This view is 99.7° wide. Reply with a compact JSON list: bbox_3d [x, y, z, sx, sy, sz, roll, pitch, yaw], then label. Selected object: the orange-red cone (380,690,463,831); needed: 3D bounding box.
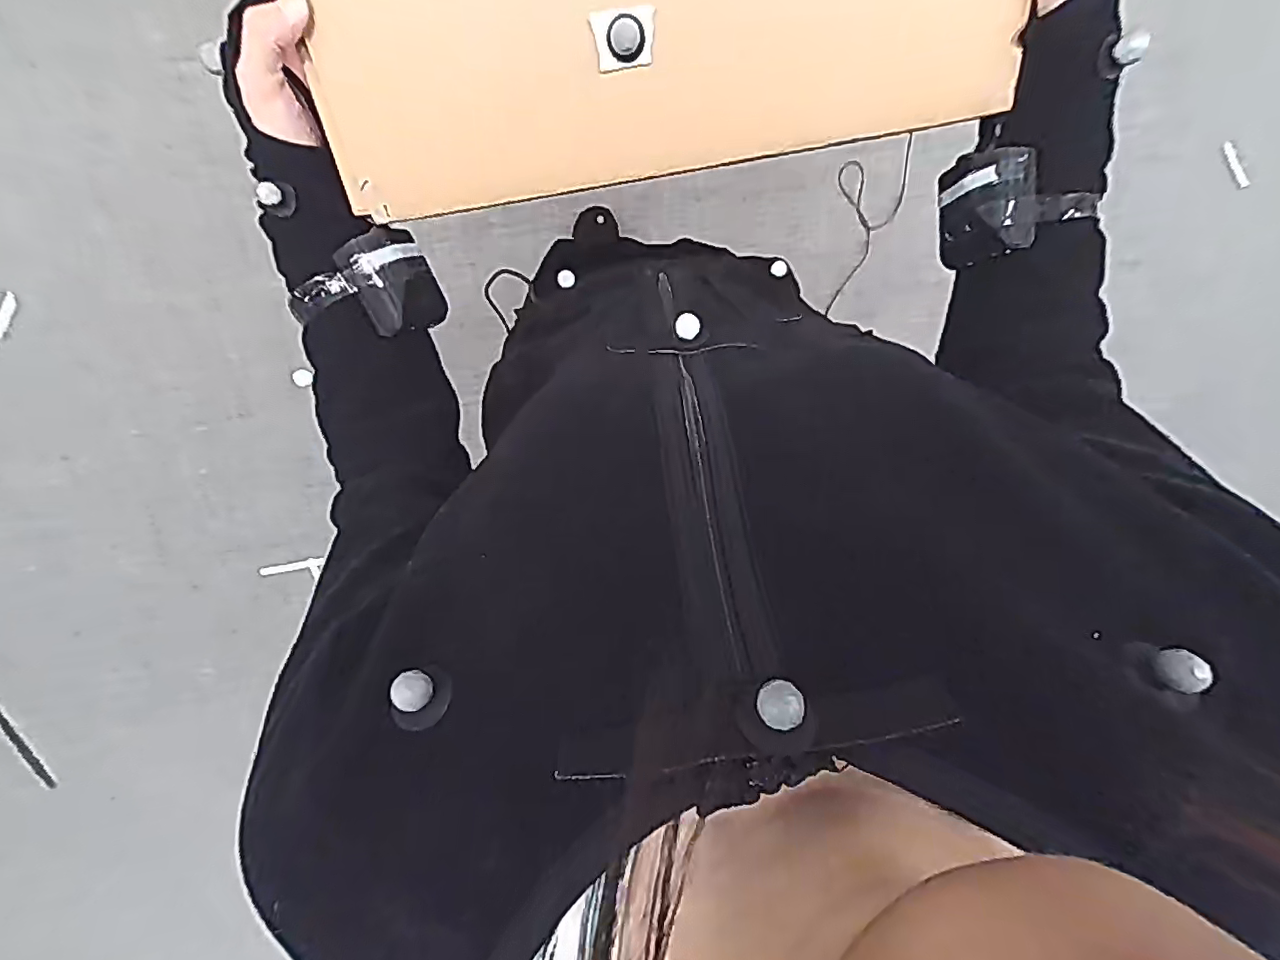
[{"bbox_3d":[-0.660,0.815,1.537,0.199,0.360,0.198,-15,112,1],"label":"orange-red cone"}]
